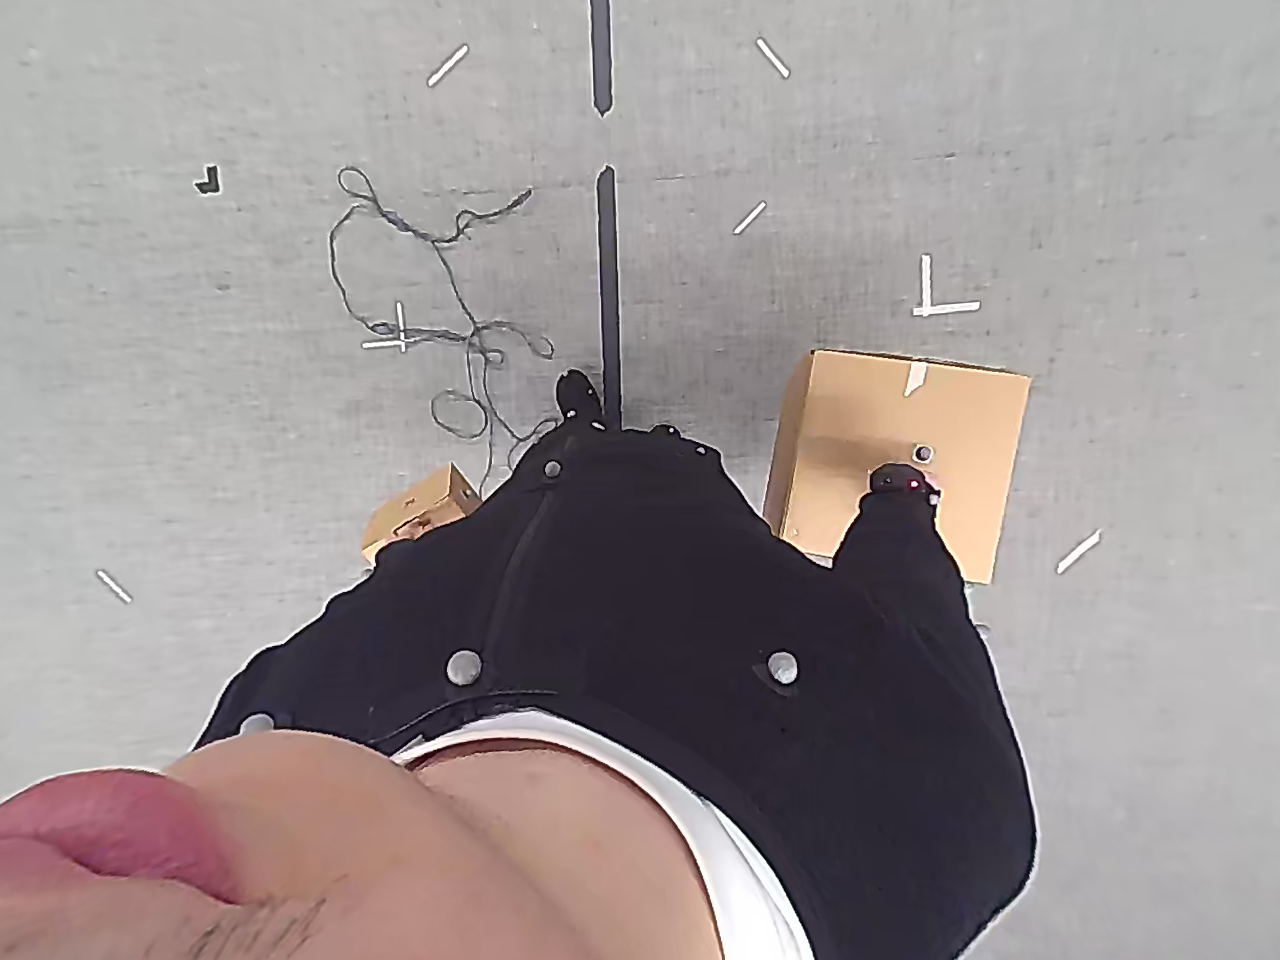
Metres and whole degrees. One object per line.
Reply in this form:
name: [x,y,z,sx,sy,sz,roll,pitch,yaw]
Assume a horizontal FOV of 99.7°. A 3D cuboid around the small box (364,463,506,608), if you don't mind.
small box: [-0.357,0.103,0.974,0.168,0.179,0.176,-33,116,-4]
